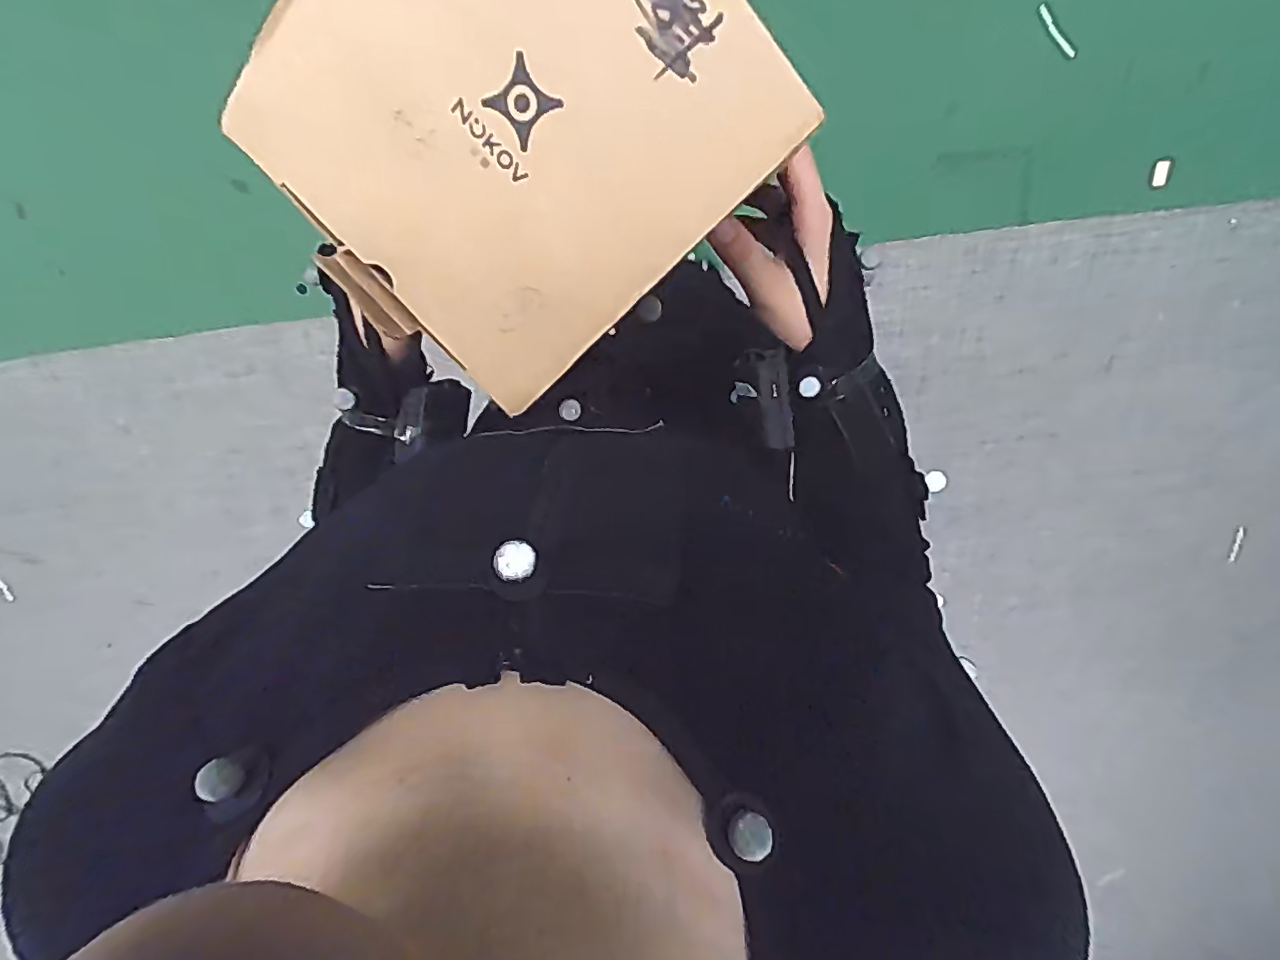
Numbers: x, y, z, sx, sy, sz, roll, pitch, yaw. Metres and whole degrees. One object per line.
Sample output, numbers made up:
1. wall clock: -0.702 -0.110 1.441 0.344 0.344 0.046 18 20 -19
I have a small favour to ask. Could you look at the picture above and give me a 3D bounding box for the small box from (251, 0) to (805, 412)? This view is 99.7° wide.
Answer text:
1. small box: -0.041 -0.169 0.290 0.179 0.176 0.168 -39 104 20
